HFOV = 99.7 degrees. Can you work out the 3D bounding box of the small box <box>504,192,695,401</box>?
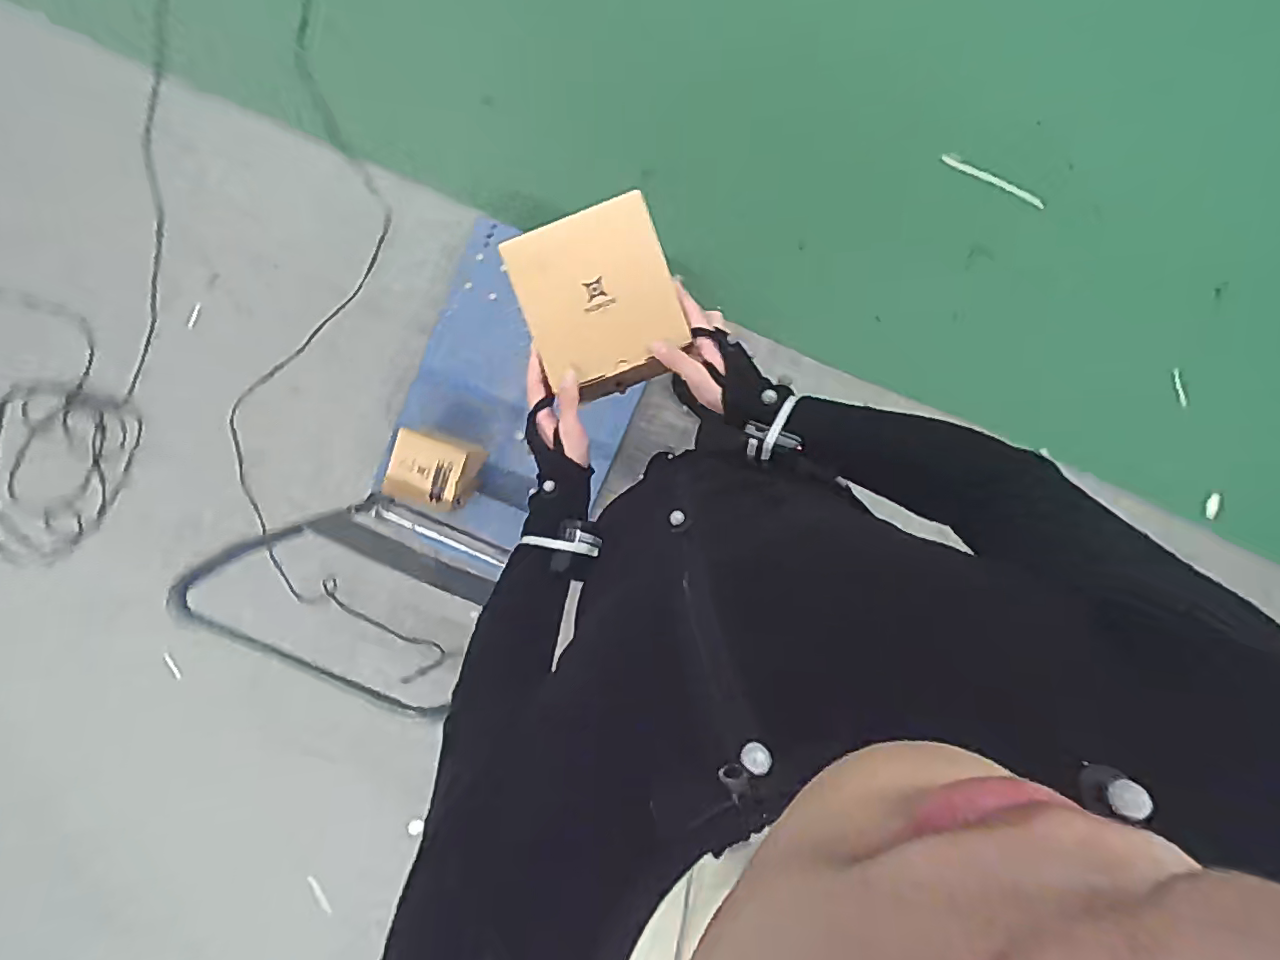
[{"bbox_3d":[-0.044,-0.207,0.662,0.168,0.176,0.179,-20,95,2],"label":"small box"}]
